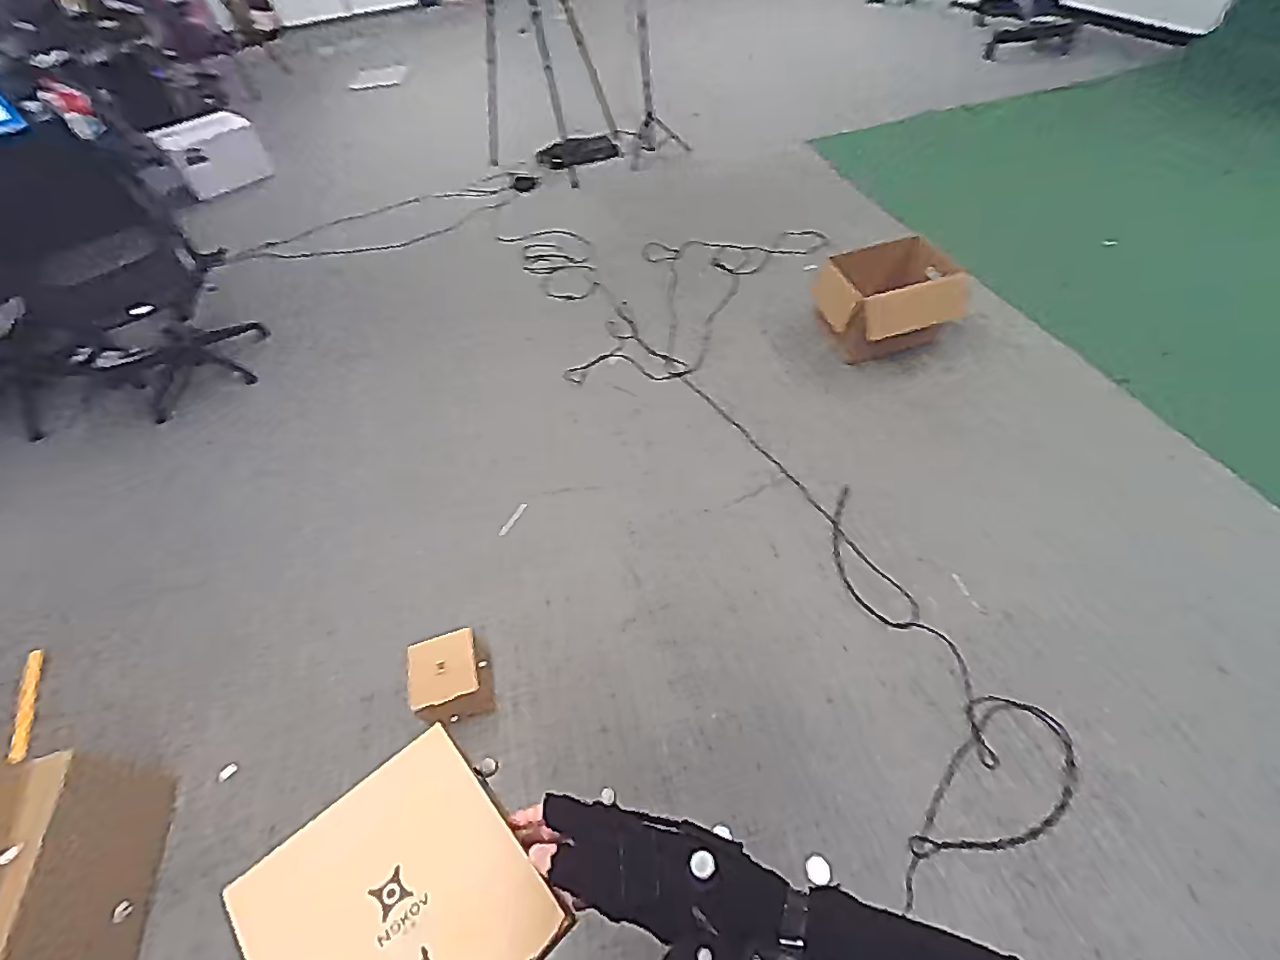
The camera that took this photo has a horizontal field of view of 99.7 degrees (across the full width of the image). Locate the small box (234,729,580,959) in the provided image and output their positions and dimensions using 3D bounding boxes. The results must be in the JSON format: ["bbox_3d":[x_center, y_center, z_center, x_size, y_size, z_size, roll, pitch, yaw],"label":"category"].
[{"bbox_3d":[-0.163,0.340,0.422,0.168,0.176,0.179,-33,60,-27],"label":"small box"}]

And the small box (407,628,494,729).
[{"bbox_3d":[-0.492,0.520,1.414,0.168,0.176,0.179,-17,53,-7],"label":"small box"}]
